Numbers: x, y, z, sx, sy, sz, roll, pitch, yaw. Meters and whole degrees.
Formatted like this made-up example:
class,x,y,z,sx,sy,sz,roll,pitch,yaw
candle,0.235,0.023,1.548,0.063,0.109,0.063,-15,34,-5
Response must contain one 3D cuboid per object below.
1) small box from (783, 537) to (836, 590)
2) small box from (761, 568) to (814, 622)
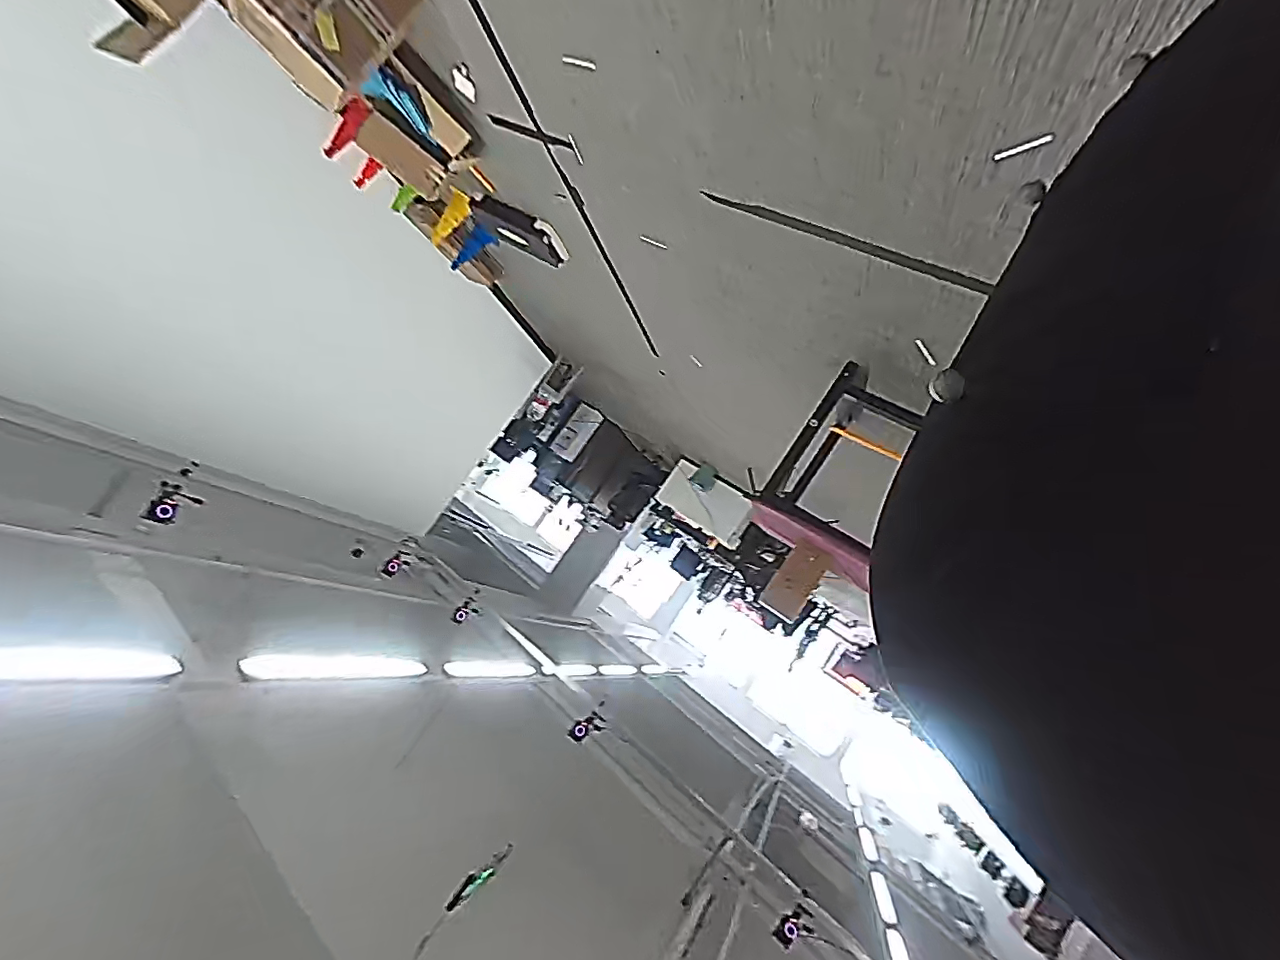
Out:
class,x,y,z,sx,sy,sz,roll,pitch,yaw
small box,0.750,0.375,2.403,0.168,0.176,0.179,33,173,21
small box,0.653,0.508,2.388,0.168,0.176,0.179,32,173,21
